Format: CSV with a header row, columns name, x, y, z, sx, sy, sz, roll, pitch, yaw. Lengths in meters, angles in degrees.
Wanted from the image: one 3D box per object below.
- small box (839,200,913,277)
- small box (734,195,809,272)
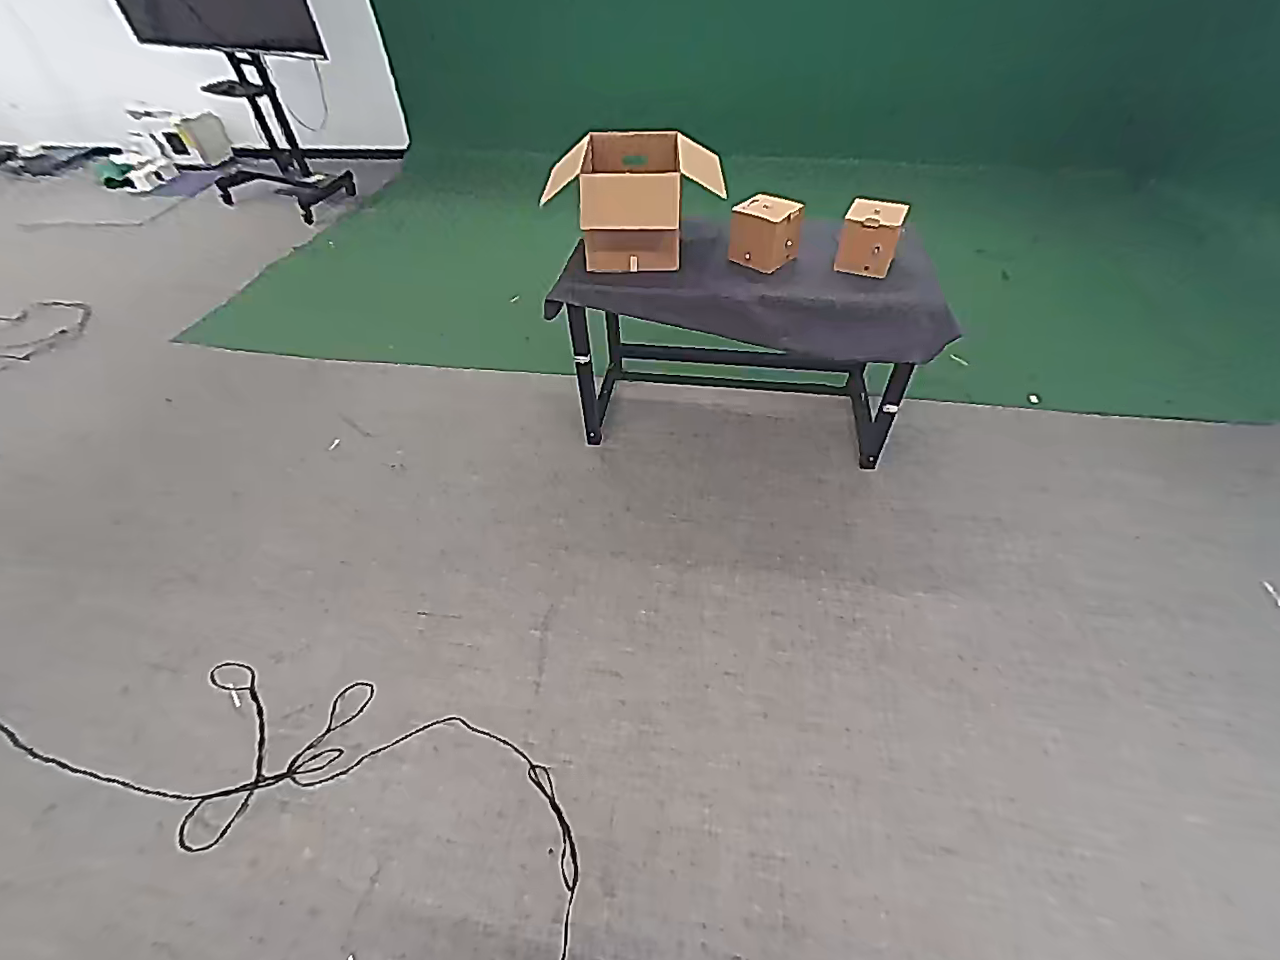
name,x,y,z,sx,sy,sz,roll,pitch,yaw
small box,0.756,-0.777,1.742,0.168,0.176,0.179,19,50,19
small box,0.431,-0.814,1.797,0.179,0.176,0.168,34,58,29
